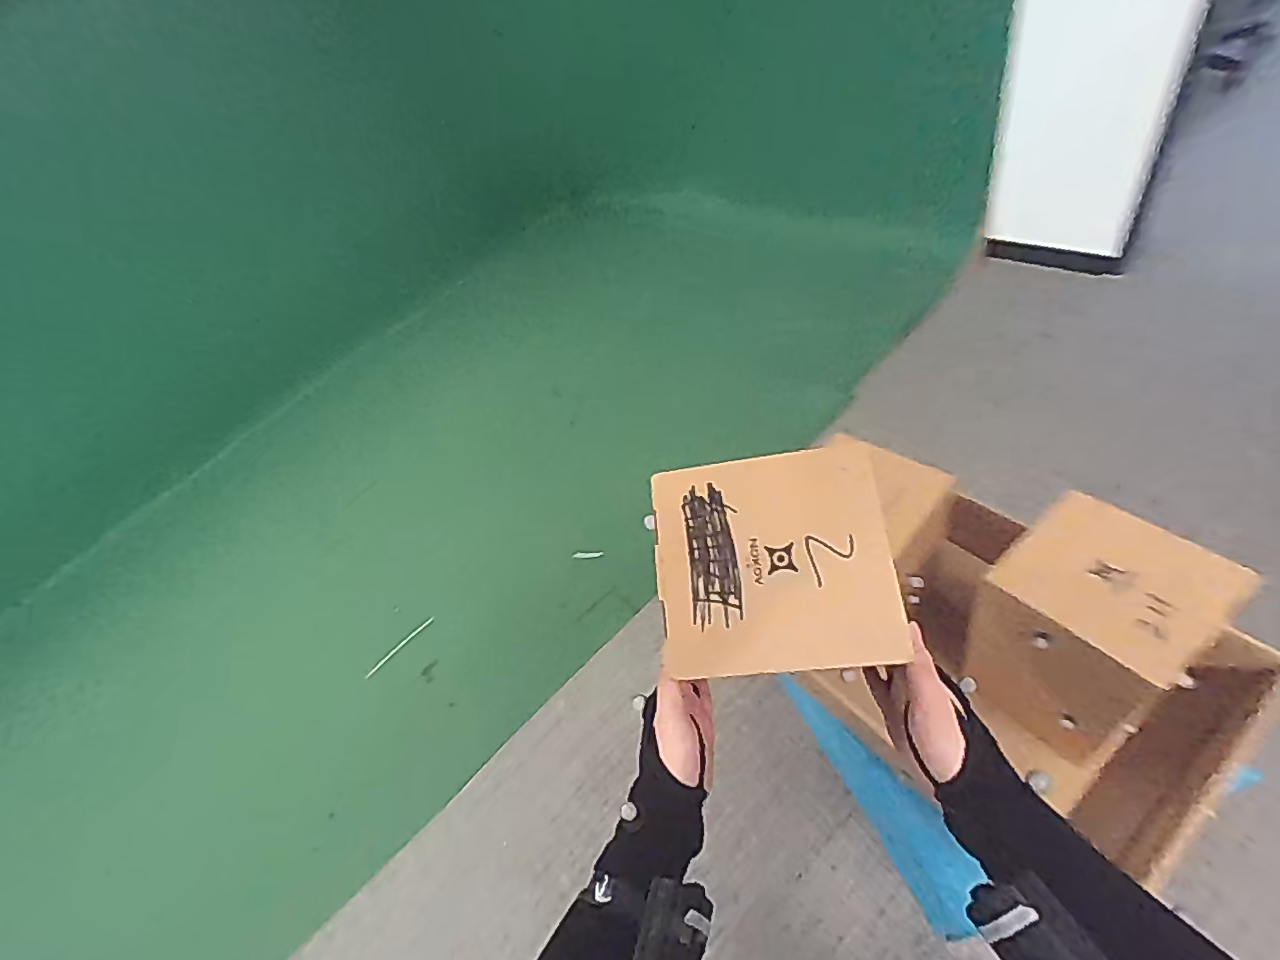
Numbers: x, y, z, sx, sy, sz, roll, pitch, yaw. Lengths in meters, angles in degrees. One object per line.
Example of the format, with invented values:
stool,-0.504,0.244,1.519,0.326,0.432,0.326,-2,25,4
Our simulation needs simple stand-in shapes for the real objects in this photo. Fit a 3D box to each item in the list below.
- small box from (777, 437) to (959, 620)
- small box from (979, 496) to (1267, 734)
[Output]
small box,0.328,0.073,0.793,0.168,0.176,0.179,-45,51,-15
small box,0.532,0.158,0.630,0.168,0.176,0.179,-39,47,-9
